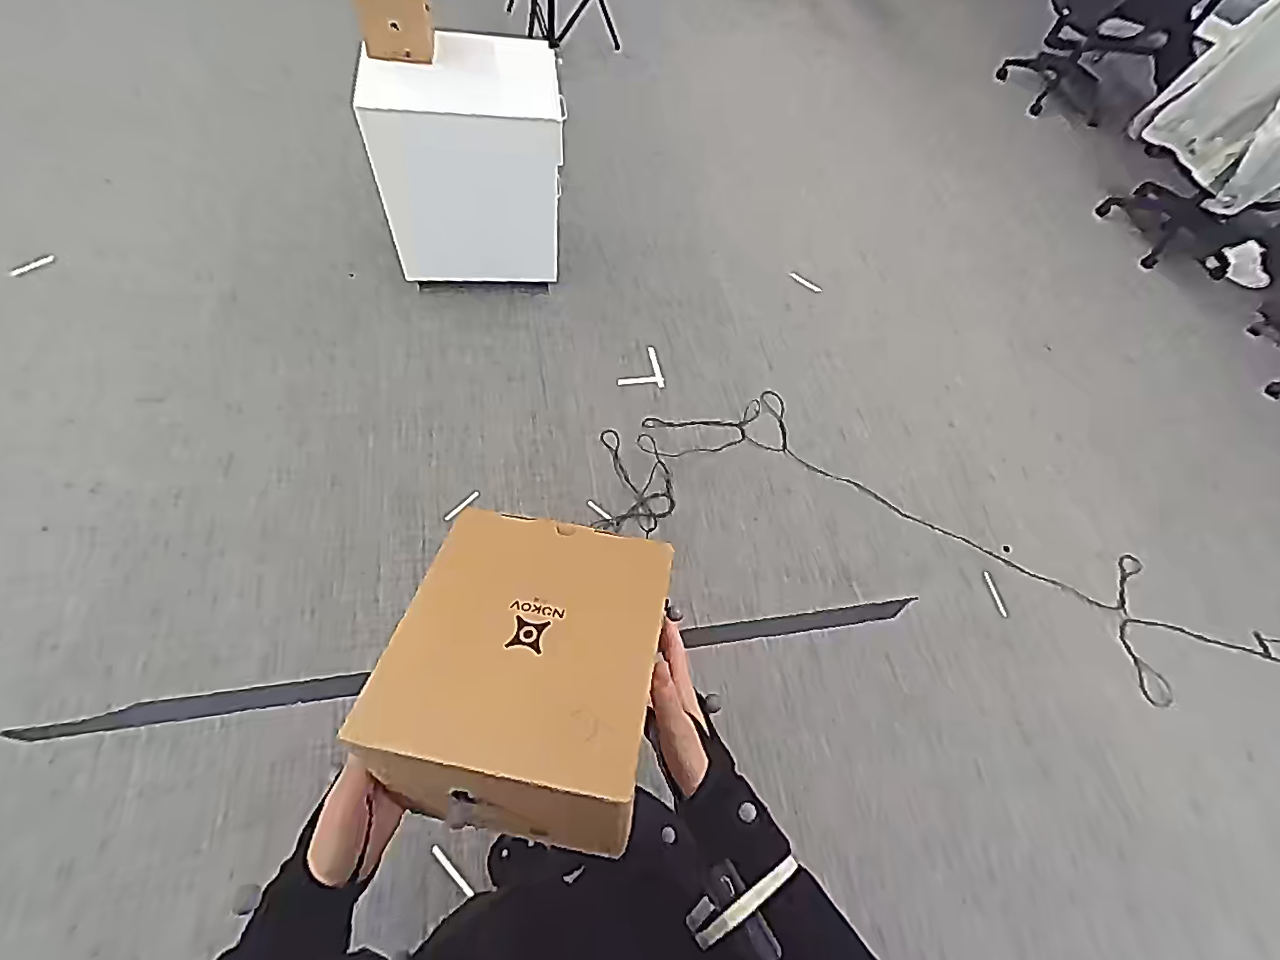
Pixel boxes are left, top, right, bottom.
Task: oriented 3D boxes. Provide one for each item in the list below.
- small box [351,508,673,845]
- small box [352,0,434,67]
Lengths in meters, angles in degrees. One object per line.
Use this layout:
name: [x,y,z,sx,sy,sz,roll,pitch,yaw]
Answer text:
small box: [-0.072,0.149,0.408,0.168,0.176,0.179,9,46,4]
small box: [-0.644,-1.230,1.424,0.168,0.176,0.179,-3,65,-12]
